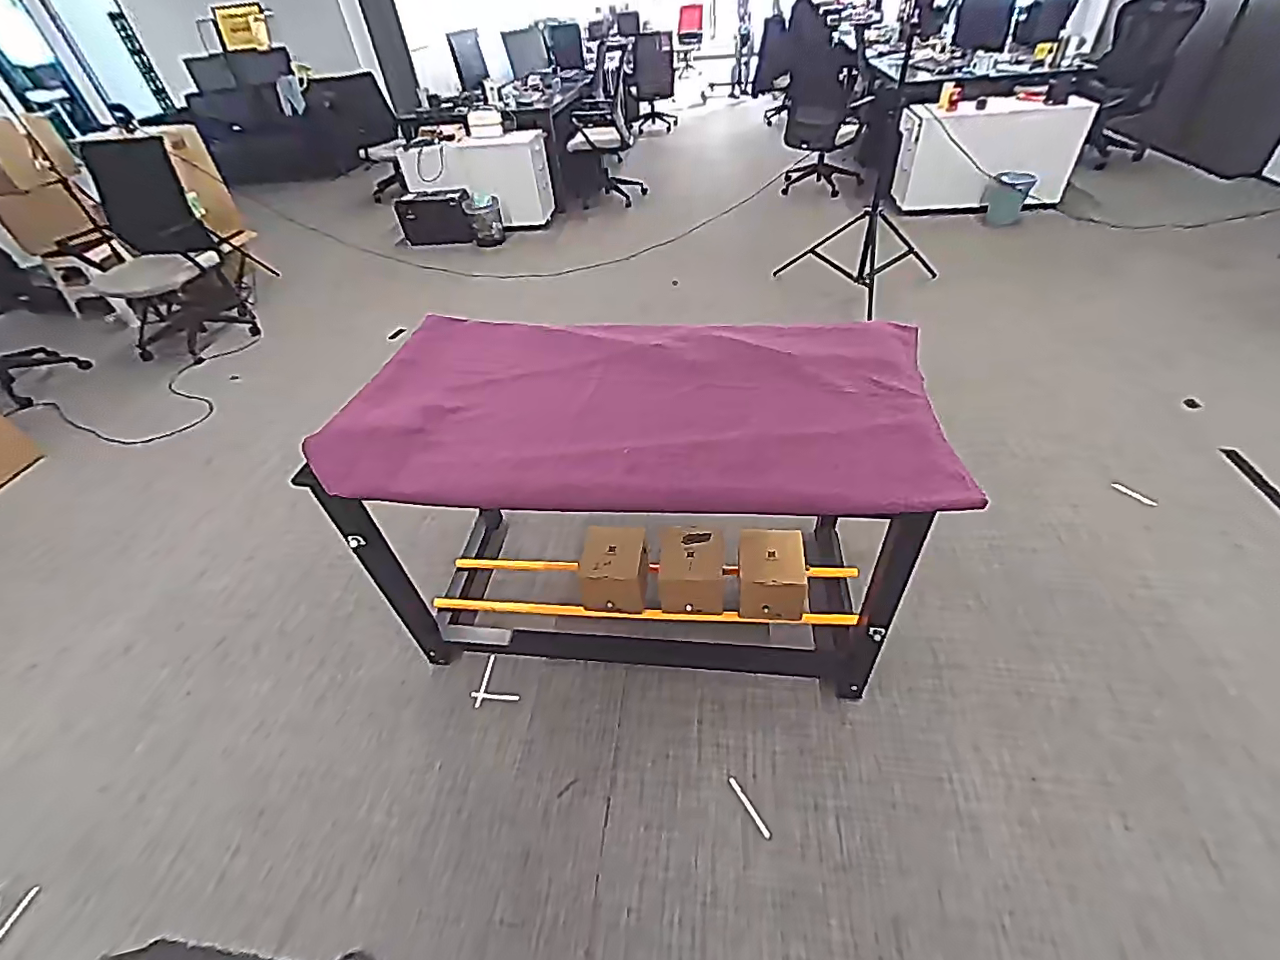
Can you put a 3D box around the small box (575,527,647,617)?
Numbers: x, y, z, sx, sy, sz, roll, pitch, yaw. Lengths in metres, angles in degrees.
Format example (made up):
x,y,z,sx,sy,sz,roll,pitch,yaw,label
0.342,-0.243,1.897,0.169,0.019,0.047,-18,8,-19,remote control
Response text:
x,y,z,sx,sy,sz,roll,pitch,yaw,label
-0.073,0.254,1.501,0.168,0.176,0.179,2,45,9,small box

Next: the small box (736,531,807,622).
x,y,z,sx,sy,sz,roll,pitch,yaw,label
0.344,0.256,1.443,0.168,0.176,0.179,0,45,8,small box
